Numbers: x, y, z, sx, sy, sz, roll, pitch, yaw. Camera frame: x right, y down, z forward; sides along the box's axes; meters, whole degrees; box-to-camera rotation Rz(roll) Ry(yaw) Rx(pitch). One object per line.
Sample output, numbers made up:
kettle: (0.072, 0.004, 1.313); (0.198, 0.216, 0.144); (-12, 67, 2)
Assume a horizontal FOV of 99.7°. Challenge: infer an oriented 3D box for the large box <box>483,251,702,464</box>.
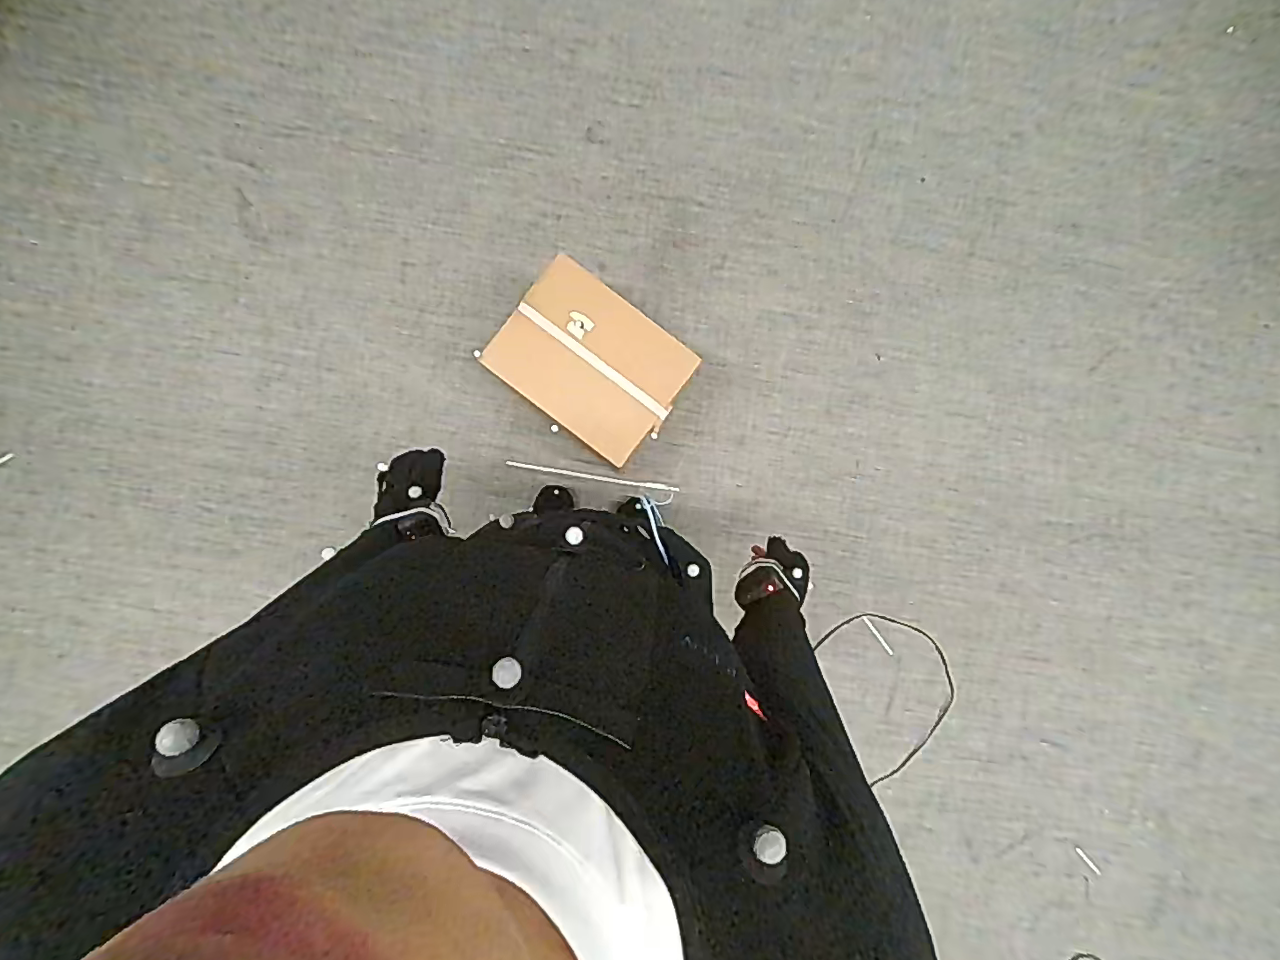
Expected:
large box: (-0.107, -0.278, 1.363); (0.408, 0.320, 0.320); (37, 87, 0)
